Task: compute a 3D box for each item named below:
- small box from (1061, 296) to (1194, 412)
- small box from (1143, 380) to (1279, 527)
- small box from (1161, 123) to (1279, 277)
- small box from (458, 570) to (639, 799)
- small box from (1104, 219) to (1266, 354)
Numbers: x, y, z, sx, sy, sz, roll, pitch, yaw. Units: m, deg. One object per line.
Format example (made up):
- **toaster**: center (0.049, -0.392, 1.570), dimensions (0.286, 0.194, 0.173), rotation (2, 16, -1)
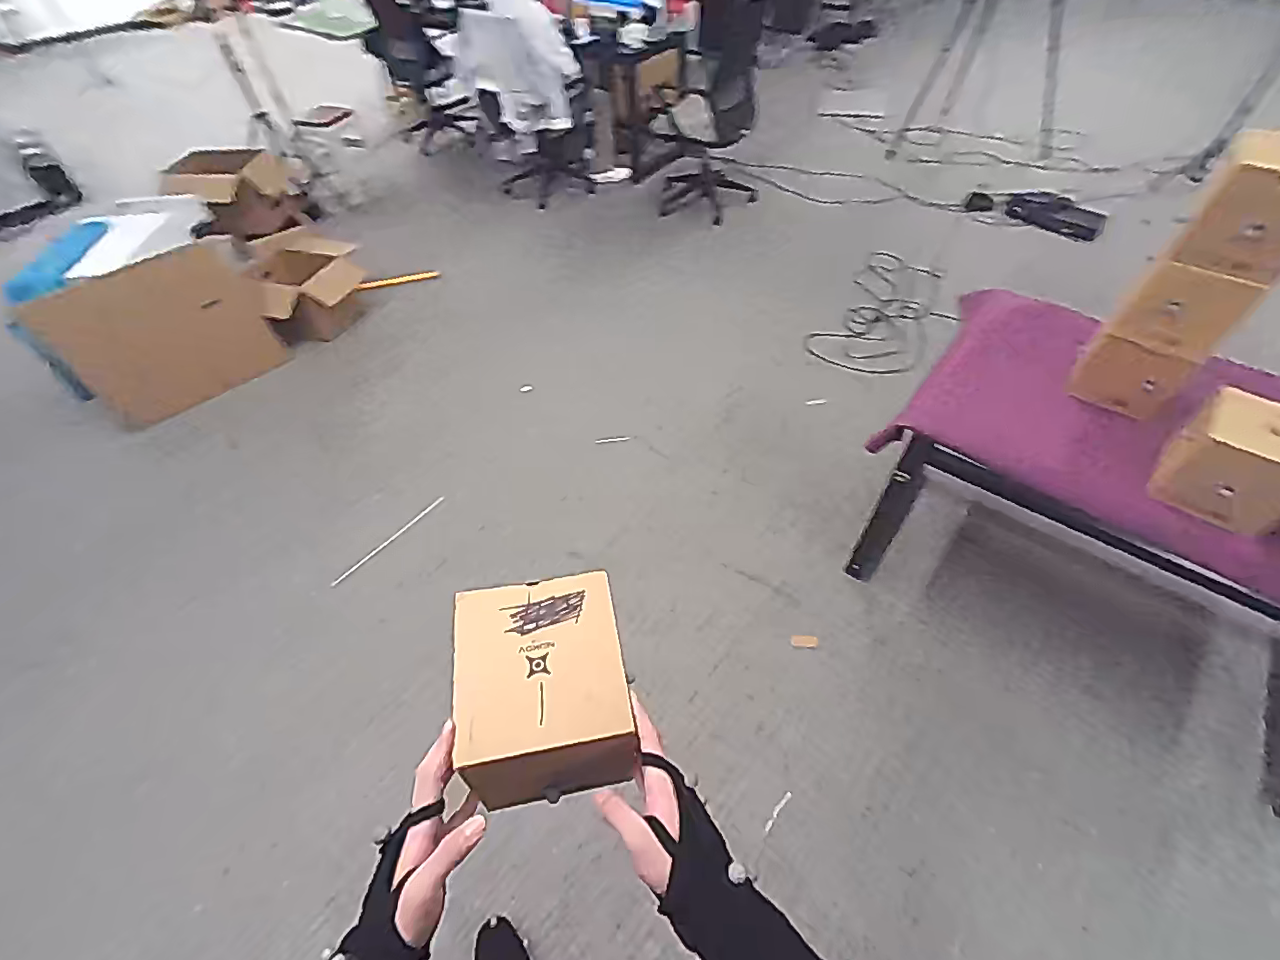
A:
- **small box**: center (1.077, -0.280, 1.191), dimensions (0.168, 0.176, 0.179), rotation (32, 60, 24)
- **small box**: center (1.090, -0.046, 1.000), dimensions (0.168, 0.176, 0.179), rotation (33, 60, 25)
- **small box**: center (1.062, -0.481, 0.935), dimensions (0.168, 0.176, 0.179), rotation (31, 60, 24)
- **small box**: center (-0.098, 0.227, 0.603), dimensions (0.168, 0.176, 0.179), rotation (-7, 49, -7)
- **small box**: center (1.066, -0.377, 1.062), dimensions (0.168, 0.176, 0.179), rotation (31, 59, 24)
